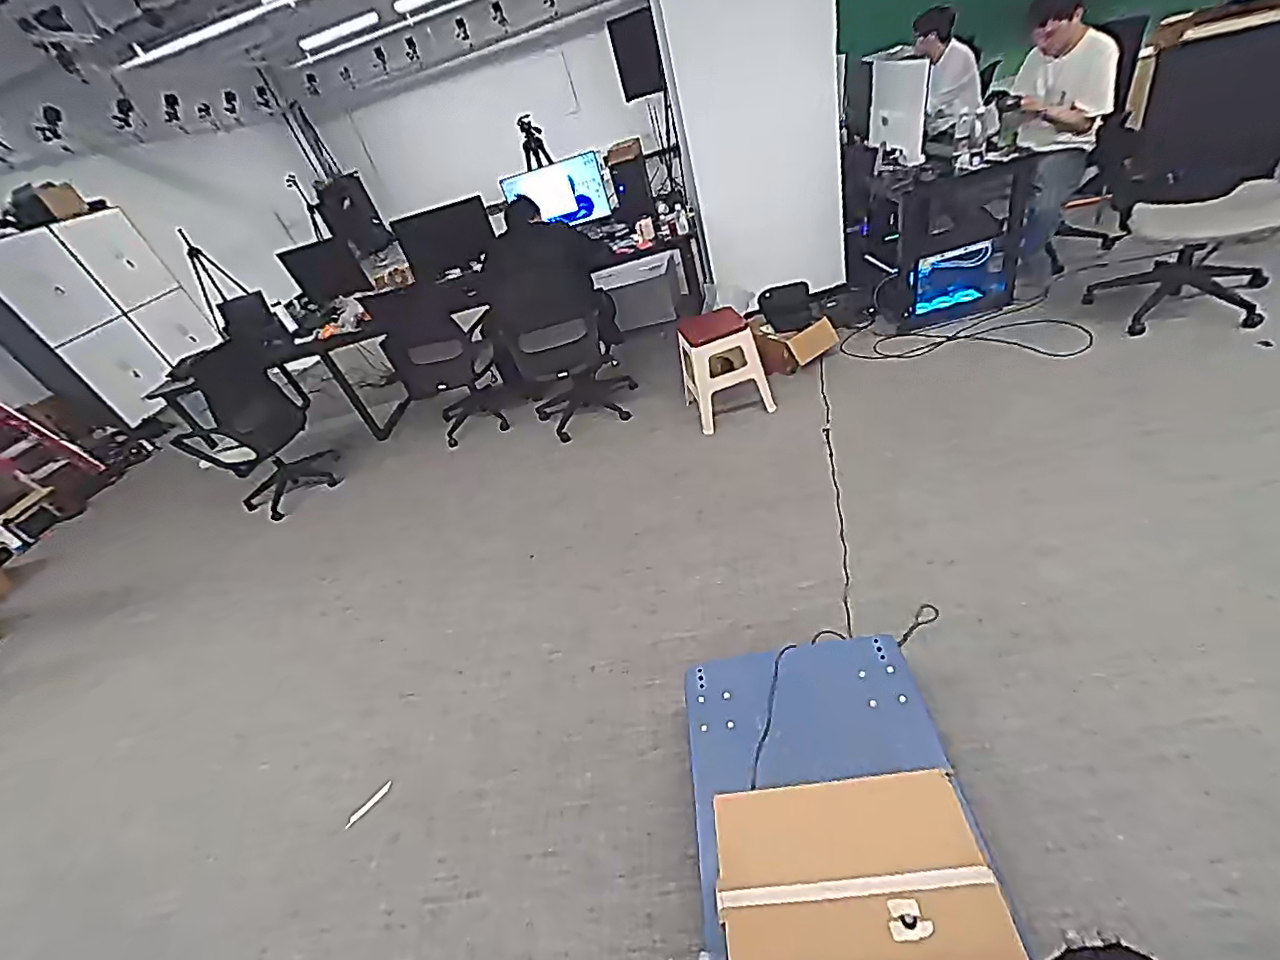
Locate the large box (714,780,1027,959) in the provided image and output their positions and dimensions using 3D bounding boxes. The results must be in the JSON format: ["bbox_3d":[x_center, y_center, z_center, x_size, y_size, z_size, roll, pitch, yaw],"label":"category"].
[{"bbox_3d":[0.359,0.747,0.894,0.408,0.320,0.320,-12,37,9],"label":"large box"}]
